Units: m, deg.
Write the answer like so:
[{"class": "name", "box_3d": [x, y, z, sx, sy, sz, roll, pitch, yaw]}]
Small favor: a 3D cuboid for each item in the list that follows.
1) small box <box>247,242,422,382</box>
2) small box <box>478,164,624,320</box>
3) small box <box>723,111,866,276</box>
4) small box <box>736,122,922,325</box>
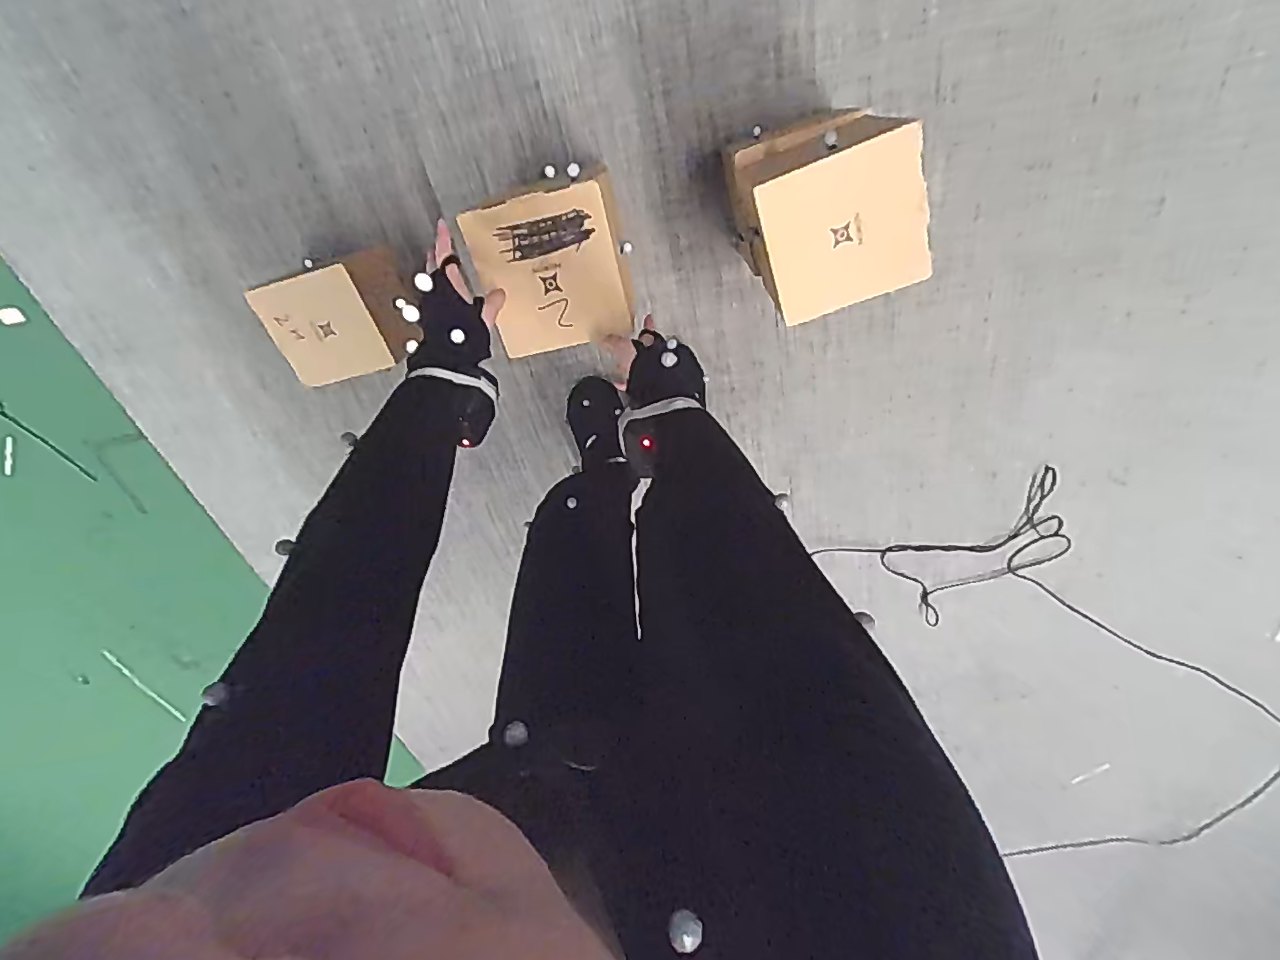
[{"class": "small box", "box_3d": [-0.497, -0.291, 0.920, 0.179, 0.176, 0.168, -11, 122, 9]}, {"class": "small box", "box_3d": [-0.125, -0.375, 0.847, 0.168, 0.176, 0.179, -10, 123, 9]}, {"class": "small box", "box_3d": [0.223, -0.424, 0.800, 0.179, 0.176, 0.168, -12, 124, 10]}, {"class": "small box", "box_3d": [0.224, -0.320, 0.674, 0.179, 0.176, 0.168, -17, 122, 13]}]
